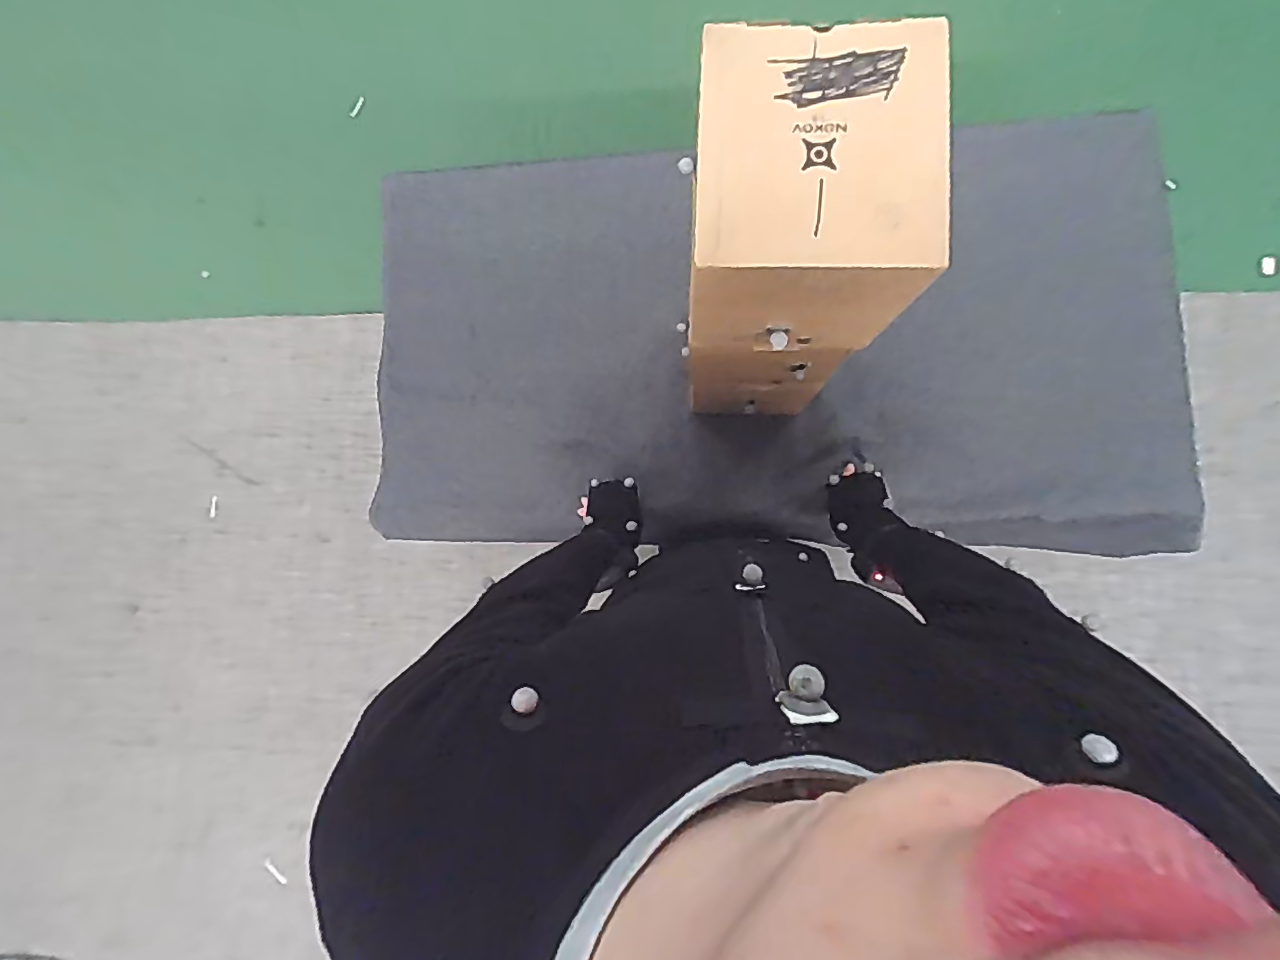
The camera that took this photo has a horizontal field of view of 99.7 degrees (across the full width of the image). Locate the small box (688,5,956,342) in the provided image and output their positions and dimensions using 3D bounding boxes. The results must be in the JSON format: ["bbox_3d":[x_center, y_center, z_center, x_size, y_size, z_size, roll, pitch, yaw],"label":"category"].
[{"bbox_3d":[0.126,-0.224,0.434,0.168,0.176,0.179,3,88,5],"label":"small box"}]

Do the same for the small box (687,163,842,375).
[{"bbox_3d":[0.137,-0.219,0.598,0.168,0.176,0.179,1,86,5],"label":"small box"}]

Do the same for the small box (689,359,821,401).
[{"bbox_3d":[0.156,-0.210,0.759,0.168,0.176,0.179,2,87,6],"label":"small box"}]
